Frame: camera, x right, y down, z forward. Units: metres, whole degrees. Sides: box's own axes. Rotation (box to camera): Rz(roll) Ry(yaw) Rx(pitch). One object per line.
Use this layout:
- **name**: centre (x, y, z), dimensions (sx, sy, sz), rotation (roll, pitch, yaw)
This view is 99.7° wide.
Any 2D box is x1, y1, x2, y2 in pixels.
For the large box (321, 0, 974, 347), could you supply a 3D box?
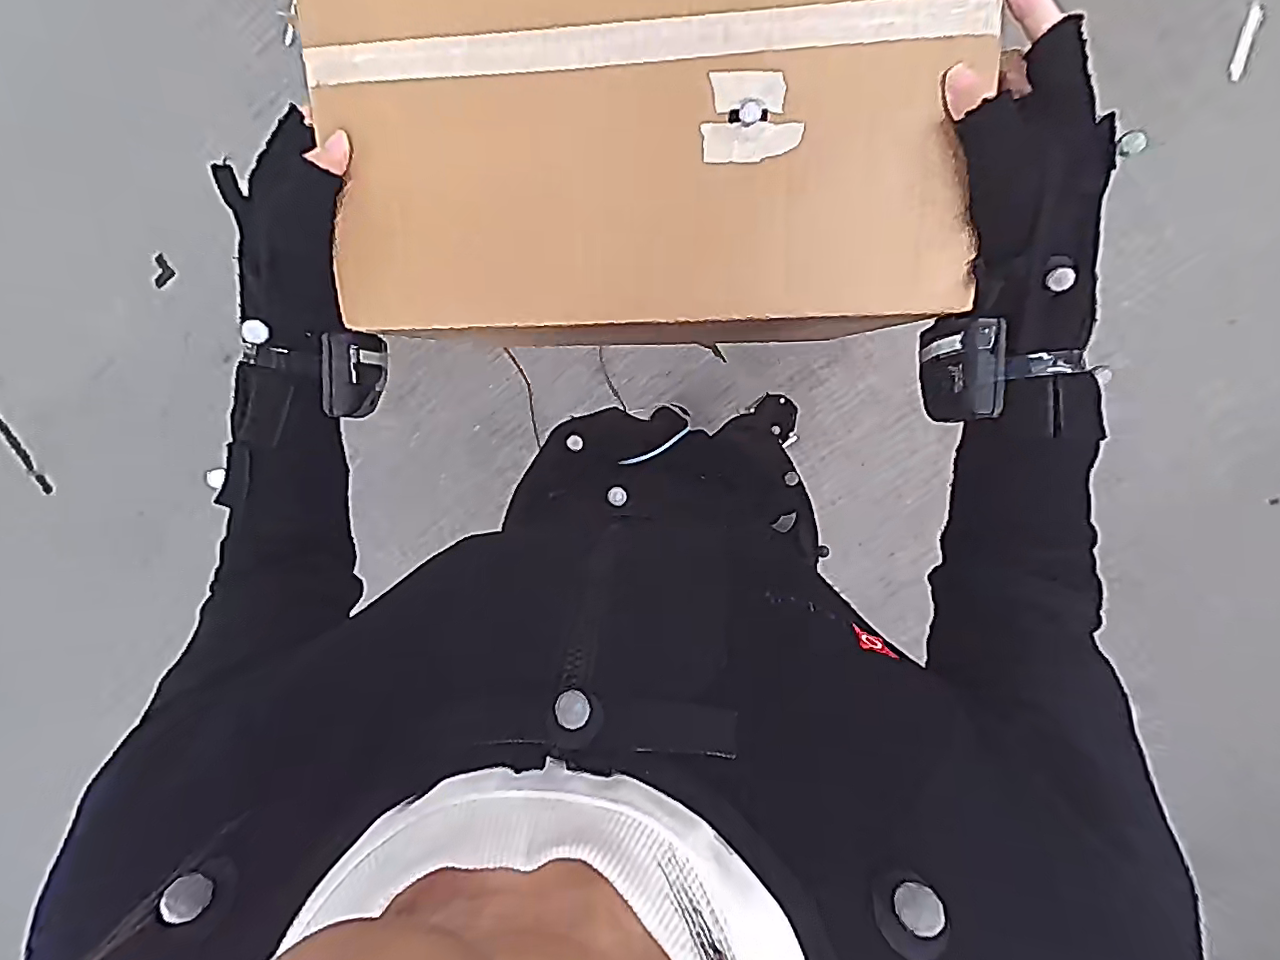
- **large box**: centre (0.007, -0.293, 0.477), dimensions (0.408, 0.320, 0.320), rotation (-1, 102, 5)
